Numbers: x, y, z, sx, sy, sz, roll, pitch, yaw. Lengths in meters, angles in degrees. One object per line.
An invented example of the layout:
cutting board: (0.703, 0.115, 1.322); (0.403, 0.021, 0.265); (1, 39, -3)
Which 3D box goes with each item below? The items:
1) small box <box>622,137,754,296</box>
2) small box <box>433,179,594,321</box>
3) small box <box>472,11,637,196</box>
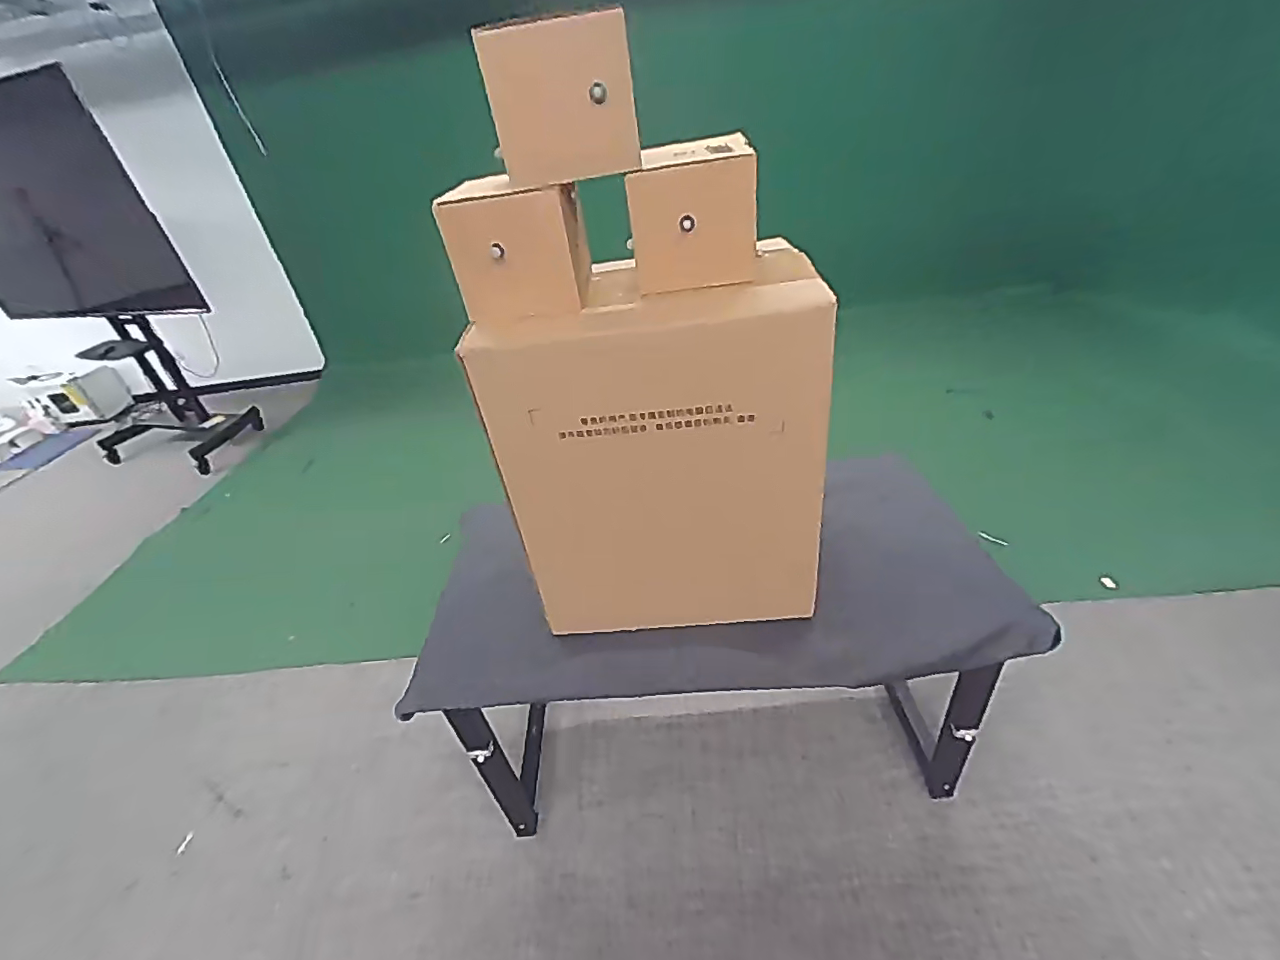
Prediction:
small box: (0.076, -0.395, 0.816); (0.179, 0.176, 0.168); (-6, 39, 7)
small box: (-0.179, -0.354, 0.825); (0.179, 0.176, 0.168); (-5, 39, 7)
small box: (-0.104, -0.495, 0.721); (0.179, 0.176, 0.168); (-12, 37, -1)
